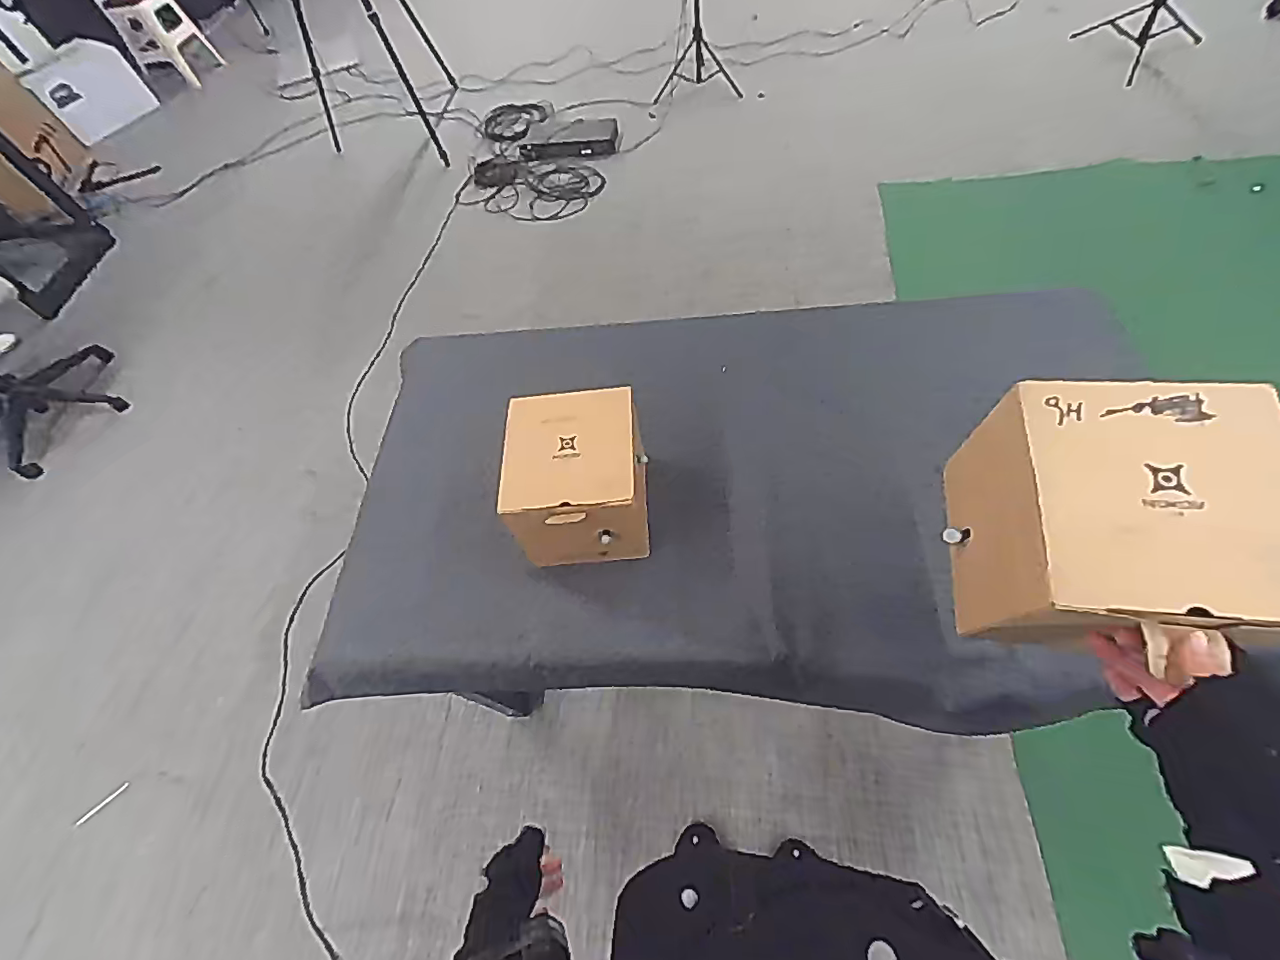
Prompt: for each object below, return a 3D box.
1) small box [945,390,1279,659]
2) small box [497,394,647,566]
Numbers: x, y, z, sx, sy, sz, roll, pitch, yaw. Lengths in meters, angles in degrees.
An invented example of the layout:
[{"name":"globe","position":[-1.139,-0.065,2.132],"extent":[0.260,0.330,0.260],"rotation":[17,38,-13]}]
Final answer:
[{"name":"small box","position":[0.370,0.045,0.441],"extent":[0.168,0.176,0.179],"rotation":[3,69,11]},{"name":"small box","position":[-0.082,0.009,0.737],"extent":[0.168,0.176,0.179],"rotation":[-5,57,3]}]
